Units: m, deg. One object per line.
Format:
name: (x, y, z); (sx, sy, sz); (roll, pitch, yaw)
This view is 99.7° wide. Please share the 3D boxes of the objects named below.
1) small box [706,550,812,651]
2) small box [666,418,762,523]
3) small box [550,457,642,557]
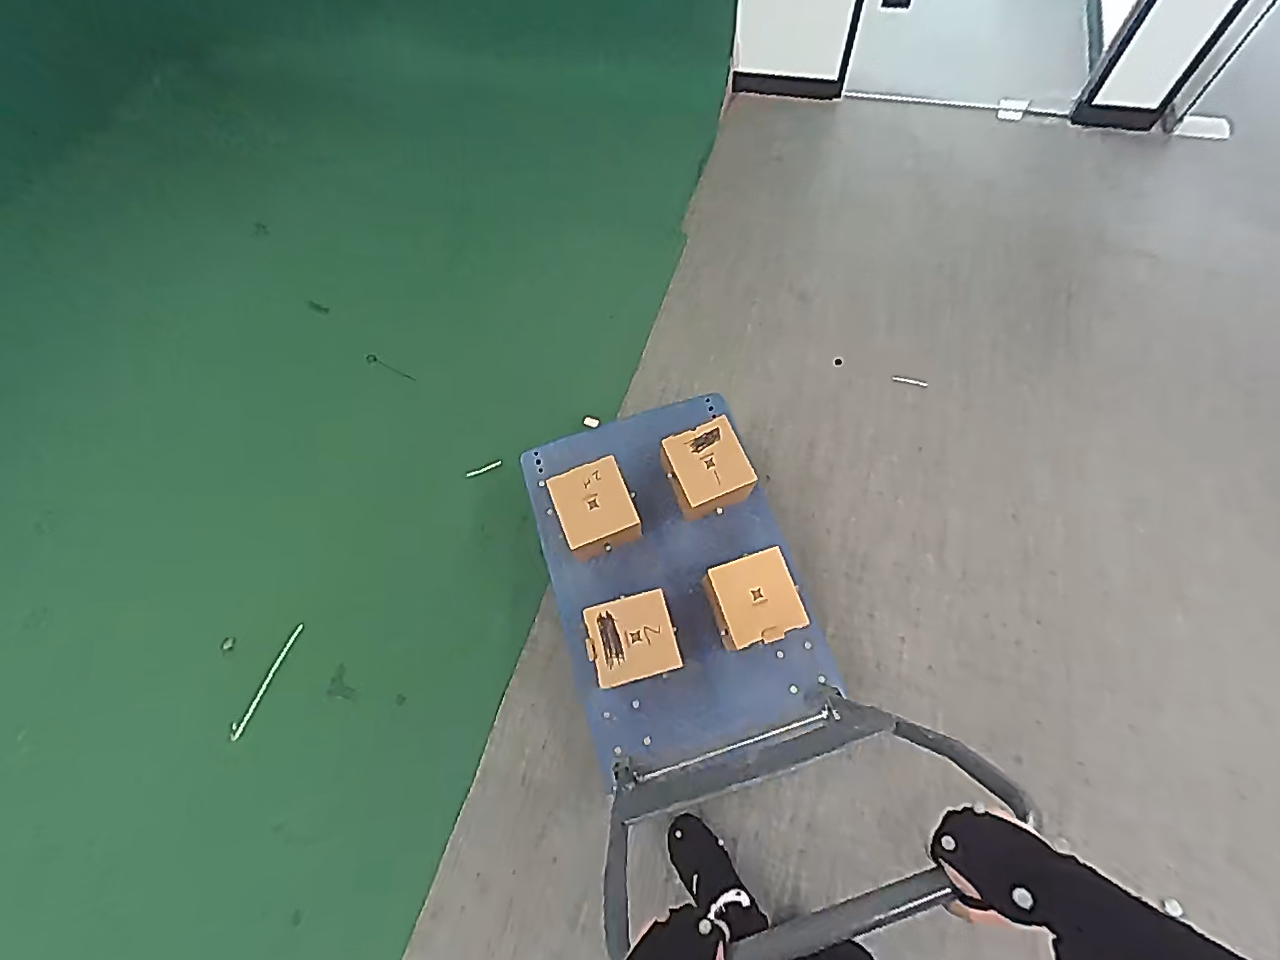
small box: (0.254, 0.274, 1.206); (0.168, 0.176, 0.179); (-17, 74, -4)
small box: (0.167, -0.017, 1.296); (0.168, 0.176, 0.179); (-22, 74, -5)
small box: (-0.097, 0.073, 1.273); (0.168, 0.176, 0.179); (-20, 73, -6)
